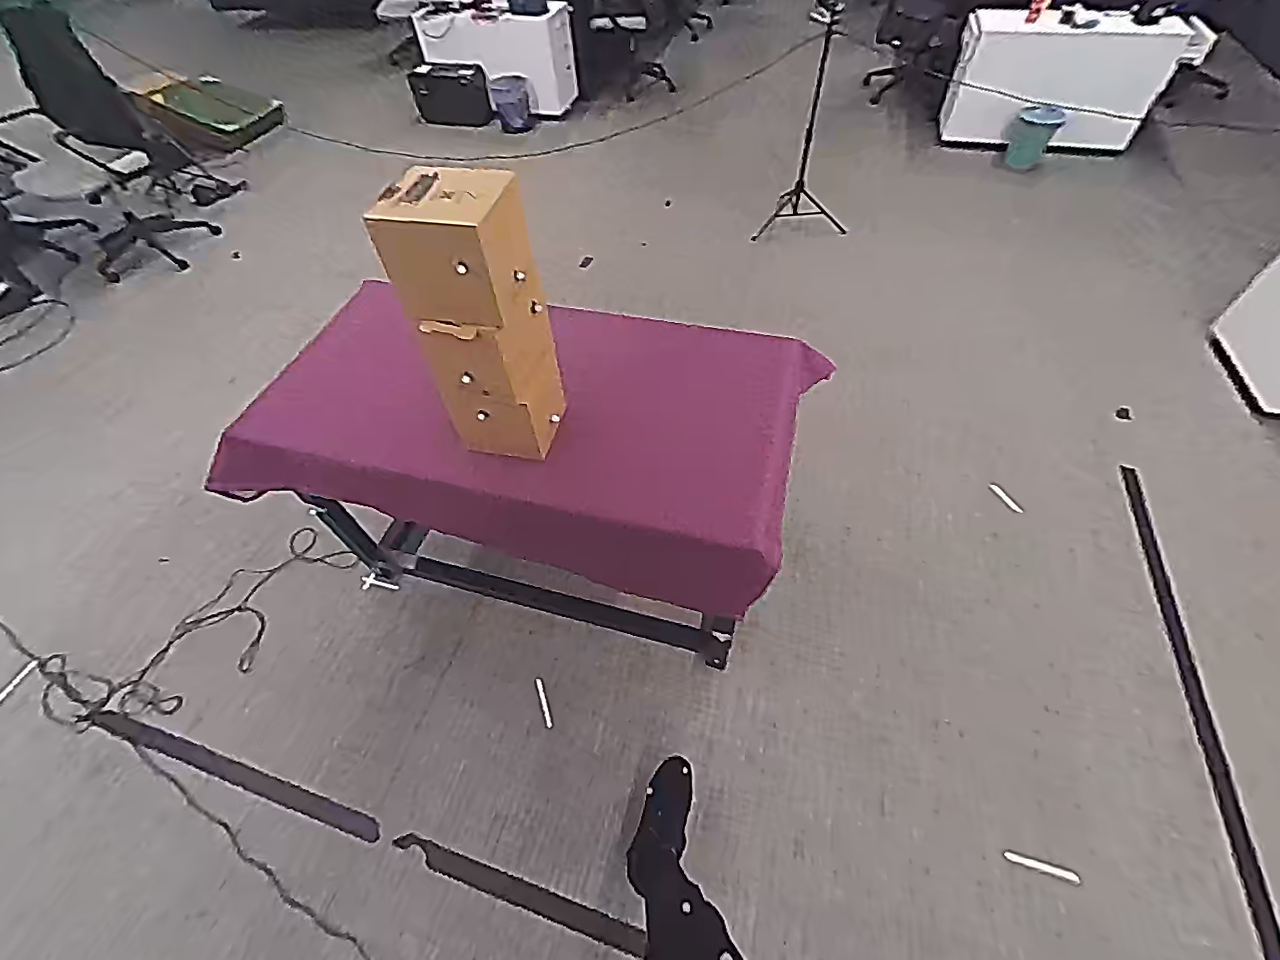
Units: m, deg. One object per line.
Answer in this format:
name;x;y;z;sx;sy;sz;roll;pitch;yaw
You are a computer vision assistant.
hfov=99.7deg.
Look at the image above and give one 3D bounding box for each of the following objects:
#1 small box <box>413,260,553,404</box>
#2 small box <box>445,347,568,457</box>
small box;-0.270;-0.268;0.982;0.168;0.176;0.179;13;55;14
small box;-0.263;-0.165;1.111;0.179;0.176;0.168;9;54;9
